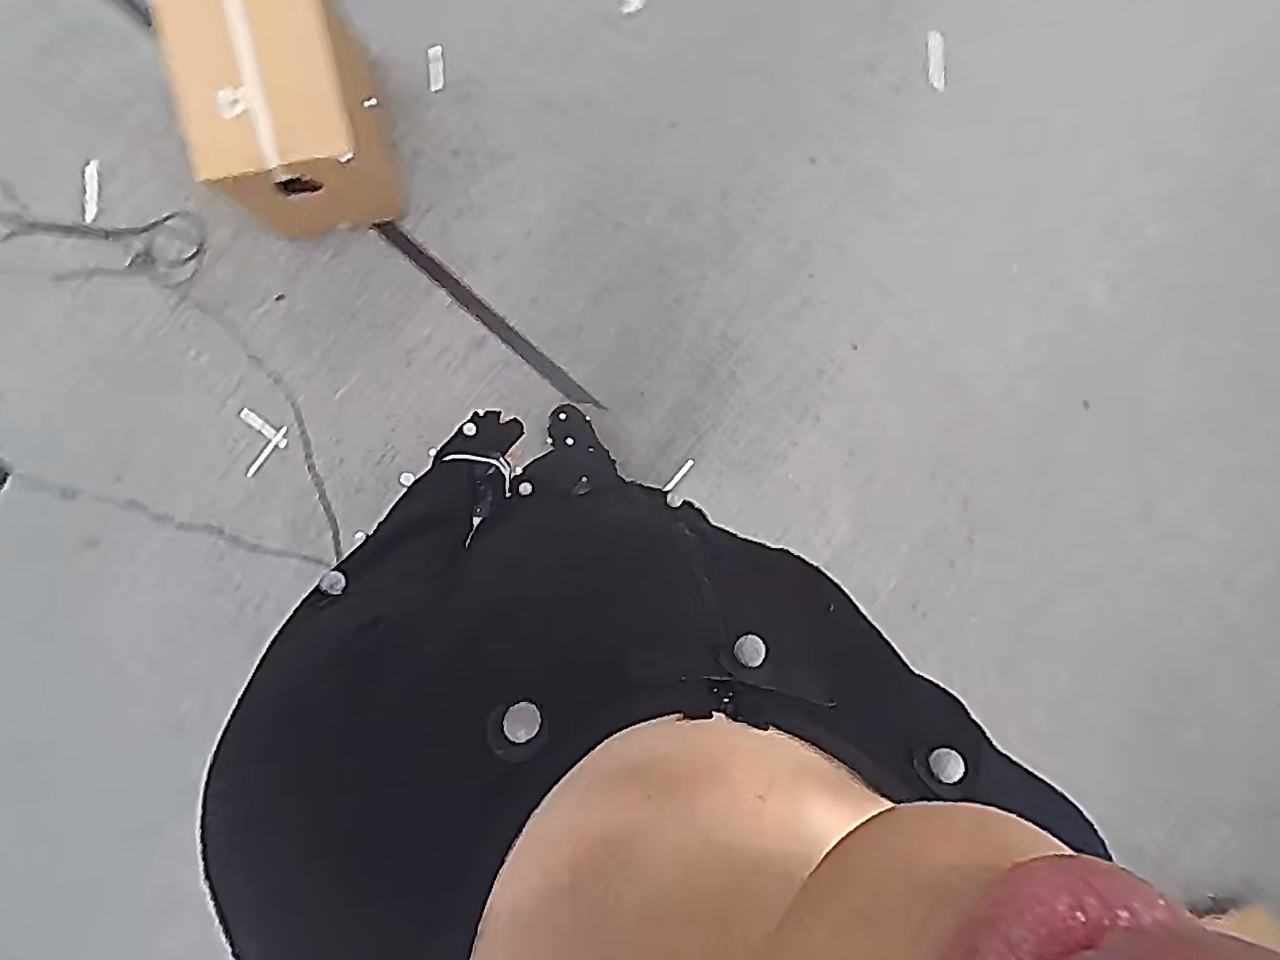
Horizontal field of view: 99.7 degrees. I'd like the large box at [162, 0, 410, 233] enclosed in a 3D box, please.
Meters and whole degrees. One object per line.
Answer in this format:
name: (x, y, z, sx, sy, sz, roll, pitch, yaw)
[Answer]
large box: (-0.768, -0.842, 1.230, 0.320, 0.320, 0.408, -12, 95, -2)
